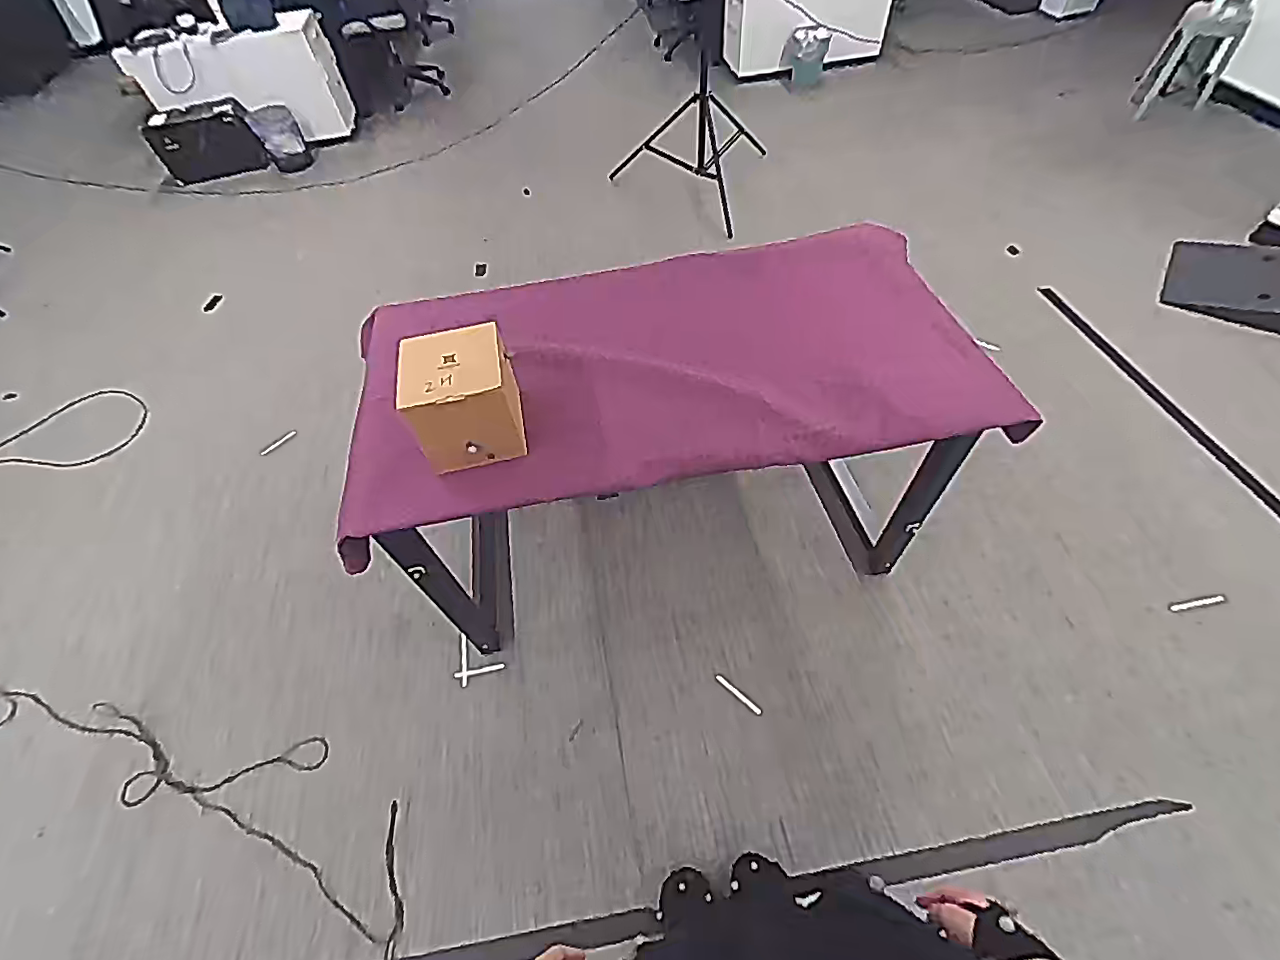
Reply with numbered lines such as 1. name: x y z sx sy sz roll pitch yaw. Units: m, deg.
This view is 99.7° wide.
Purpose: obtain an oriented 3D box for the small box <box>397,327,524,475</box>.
1. small box: -0.308 -0.137 0.952 0.168 0.176 0.179 -13 54 -4
